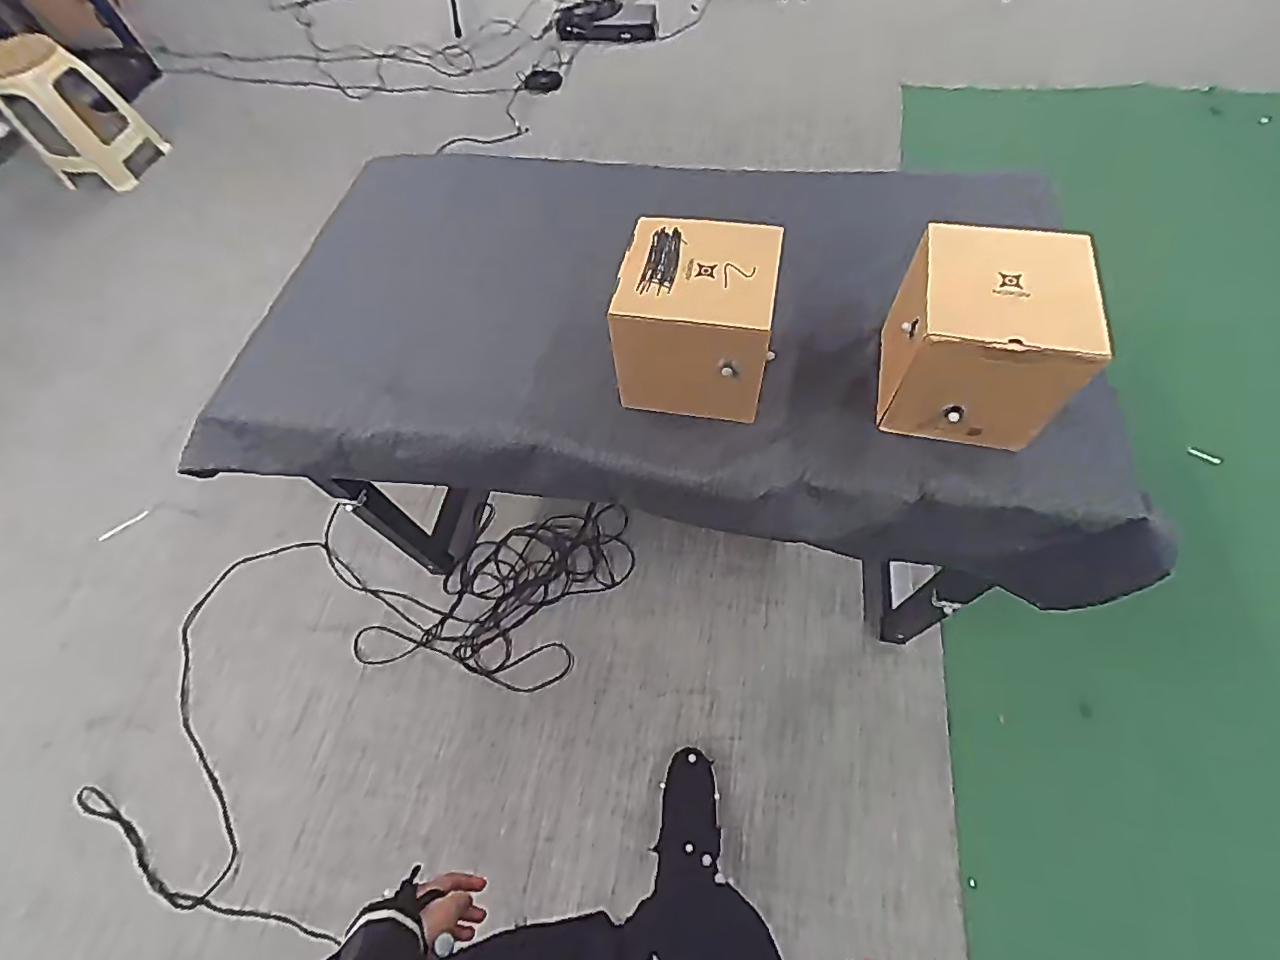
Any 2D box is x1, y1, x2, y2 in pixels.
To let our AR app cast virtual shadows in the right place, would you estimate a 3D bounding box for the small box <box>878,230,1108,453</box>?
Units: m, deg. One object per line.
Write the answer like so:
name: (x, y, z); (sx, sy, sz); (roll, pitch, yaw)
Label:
small box: (0.388, -0.157, 0.631); (0.168, 0.176, 0.179); (10, 62, 11)
